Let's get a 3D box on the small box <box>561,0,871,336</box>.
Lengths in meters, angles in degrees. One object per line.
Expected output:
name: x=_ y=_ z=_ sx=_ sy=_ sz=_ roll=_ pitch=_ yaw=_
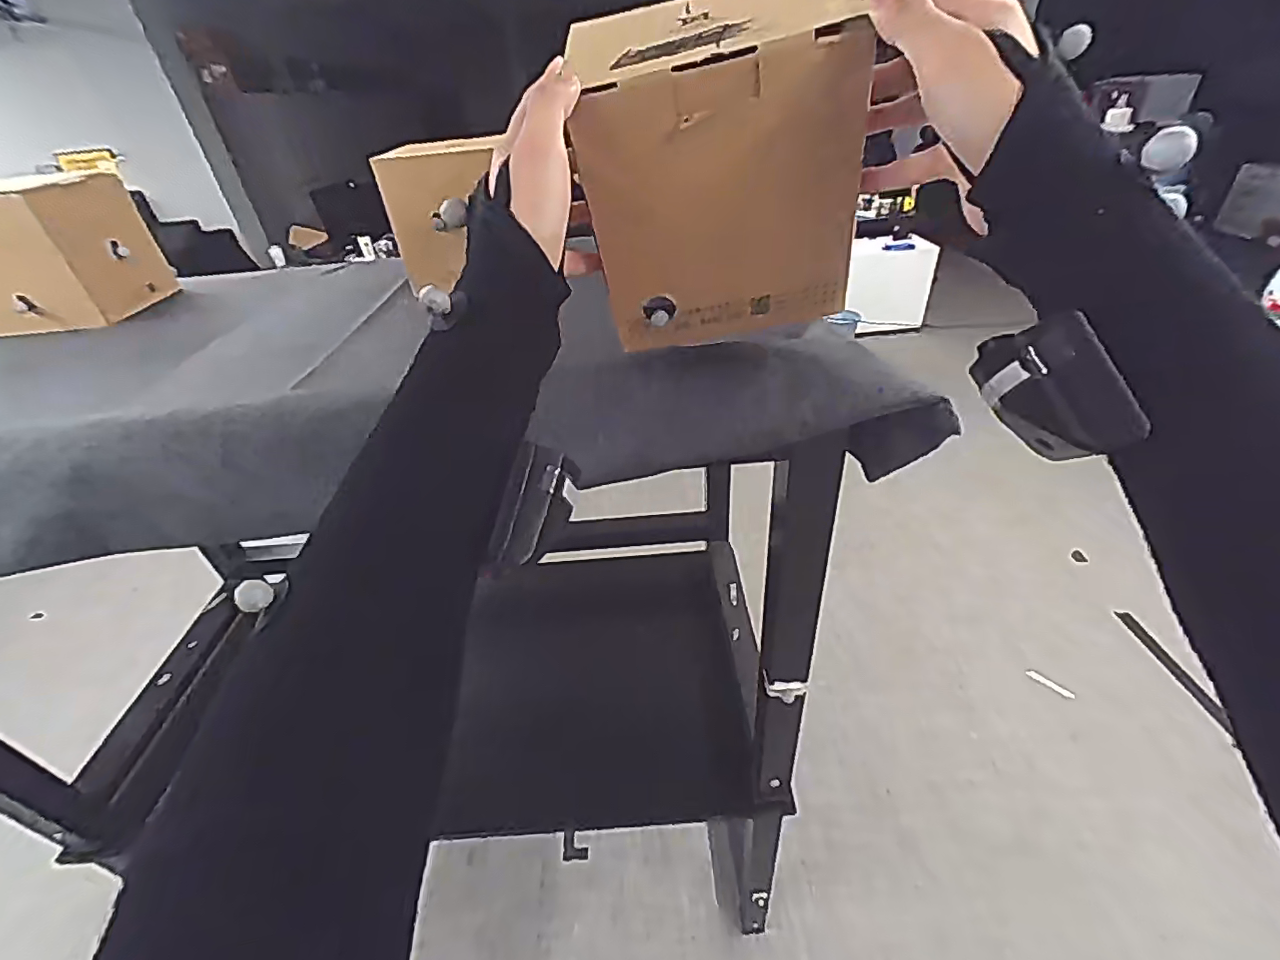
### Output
small box: x=0.049 y=-0.221 z=0.391 sx=0.168 sy=0.176 sz=0.179 roll=-8 pitch=49 yaw=6

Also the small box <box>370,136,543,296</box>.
small box: x=-0.235 y=-0.361 z=0.747 sx=0.168 sy=0.176 sz=0.179 roll=-6 pitch=37 yaw=0

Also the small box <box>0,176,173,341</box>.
small box: x=-0.809 y=-0.303 z=0.740 sx=0.179 sy=0.176 sz=0.168 roll=-6 pitch=37 yaw=-2
